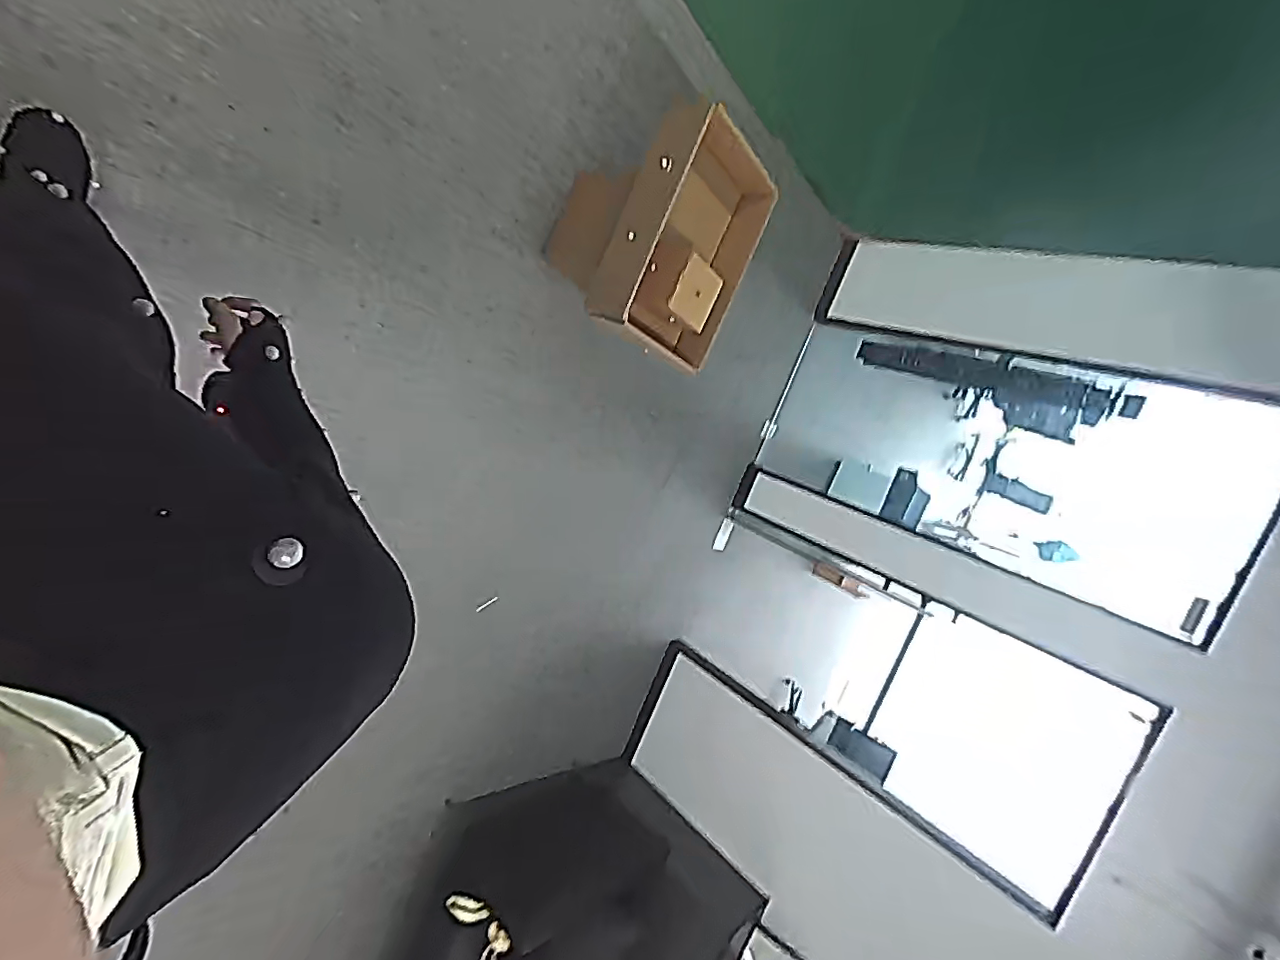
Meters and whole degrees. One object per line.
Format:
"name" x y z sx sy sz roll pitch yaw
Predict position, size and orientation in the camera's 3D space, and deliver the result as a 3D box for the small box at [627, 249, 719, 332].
"small box" 0.096 -0.565 1.603 0.179 0.176 0.168 20 96 -51
